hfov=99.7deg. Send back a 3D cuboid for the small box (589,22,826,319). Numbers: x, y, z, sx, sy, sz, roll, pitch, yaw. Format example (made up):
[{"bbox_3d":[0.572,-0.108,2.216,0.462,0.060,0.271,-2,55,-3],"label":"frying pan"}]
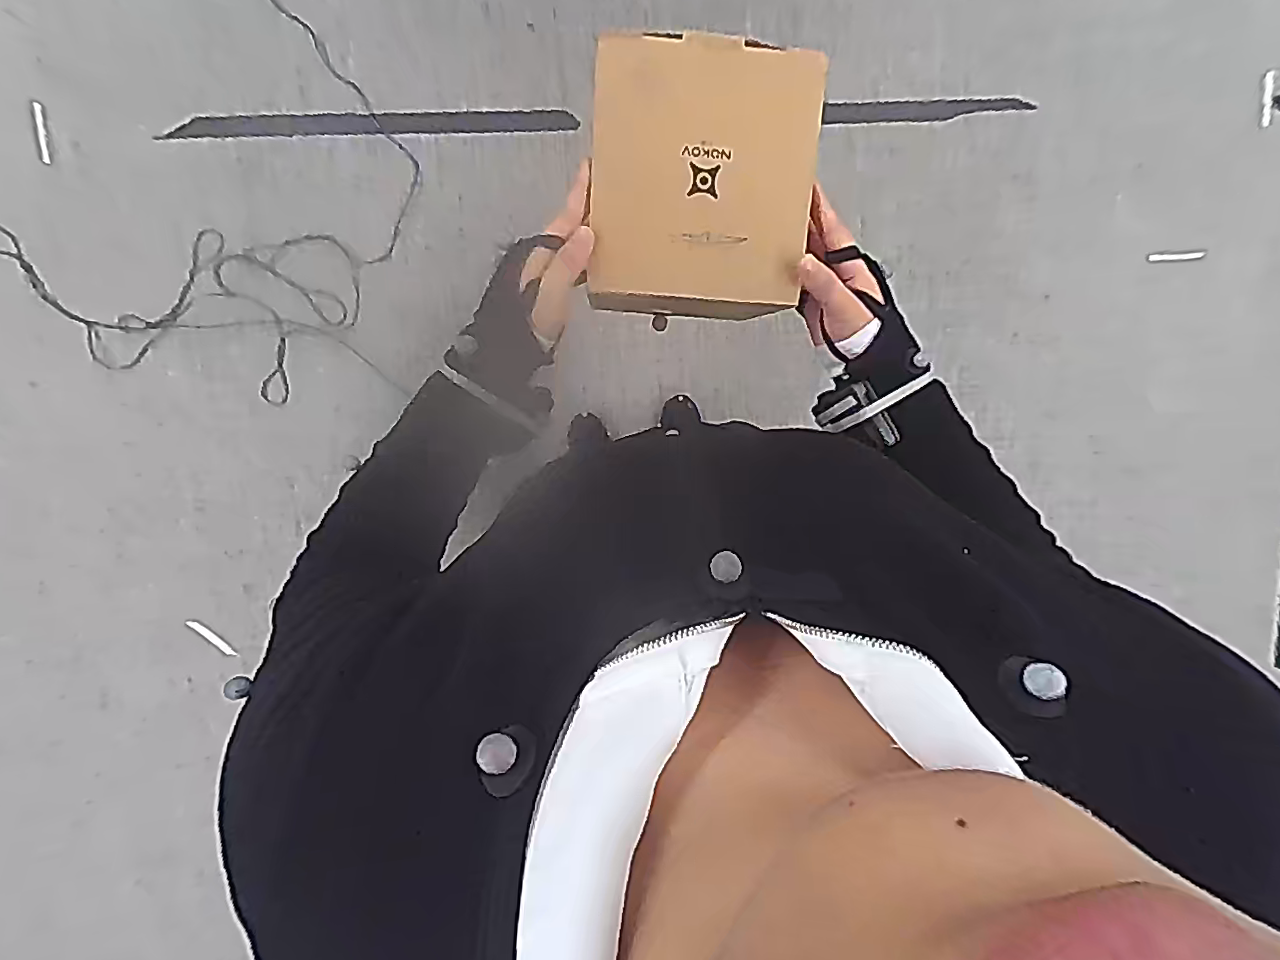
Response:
[{"bbox_3d":[0.042,-0.244,0.474,0.168,0.176,0.179,3,102,-4],"label":"small box"}]
